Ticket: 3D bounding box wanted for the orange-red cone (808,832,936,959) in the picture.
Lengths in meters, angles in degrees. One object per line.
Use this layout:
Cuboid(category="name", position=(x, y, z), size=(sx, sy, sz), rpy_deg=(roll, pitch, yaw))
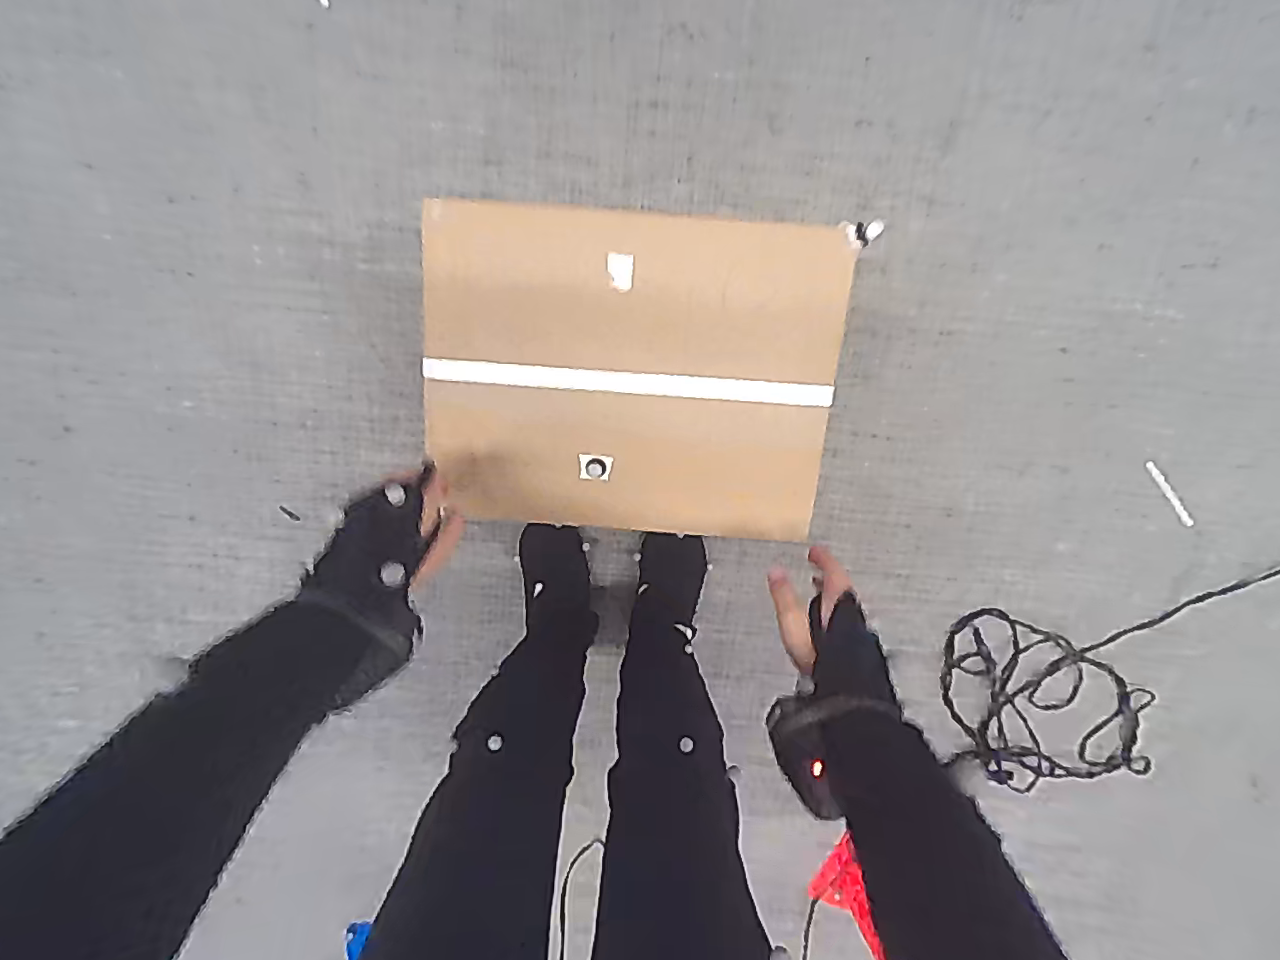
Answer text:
Cuboid(category="orange-red cone", position=(0.452, 0.827, 0.891), size=(0.199, 0.360, 0.198), rpy_deg=(24, 104, -6))
